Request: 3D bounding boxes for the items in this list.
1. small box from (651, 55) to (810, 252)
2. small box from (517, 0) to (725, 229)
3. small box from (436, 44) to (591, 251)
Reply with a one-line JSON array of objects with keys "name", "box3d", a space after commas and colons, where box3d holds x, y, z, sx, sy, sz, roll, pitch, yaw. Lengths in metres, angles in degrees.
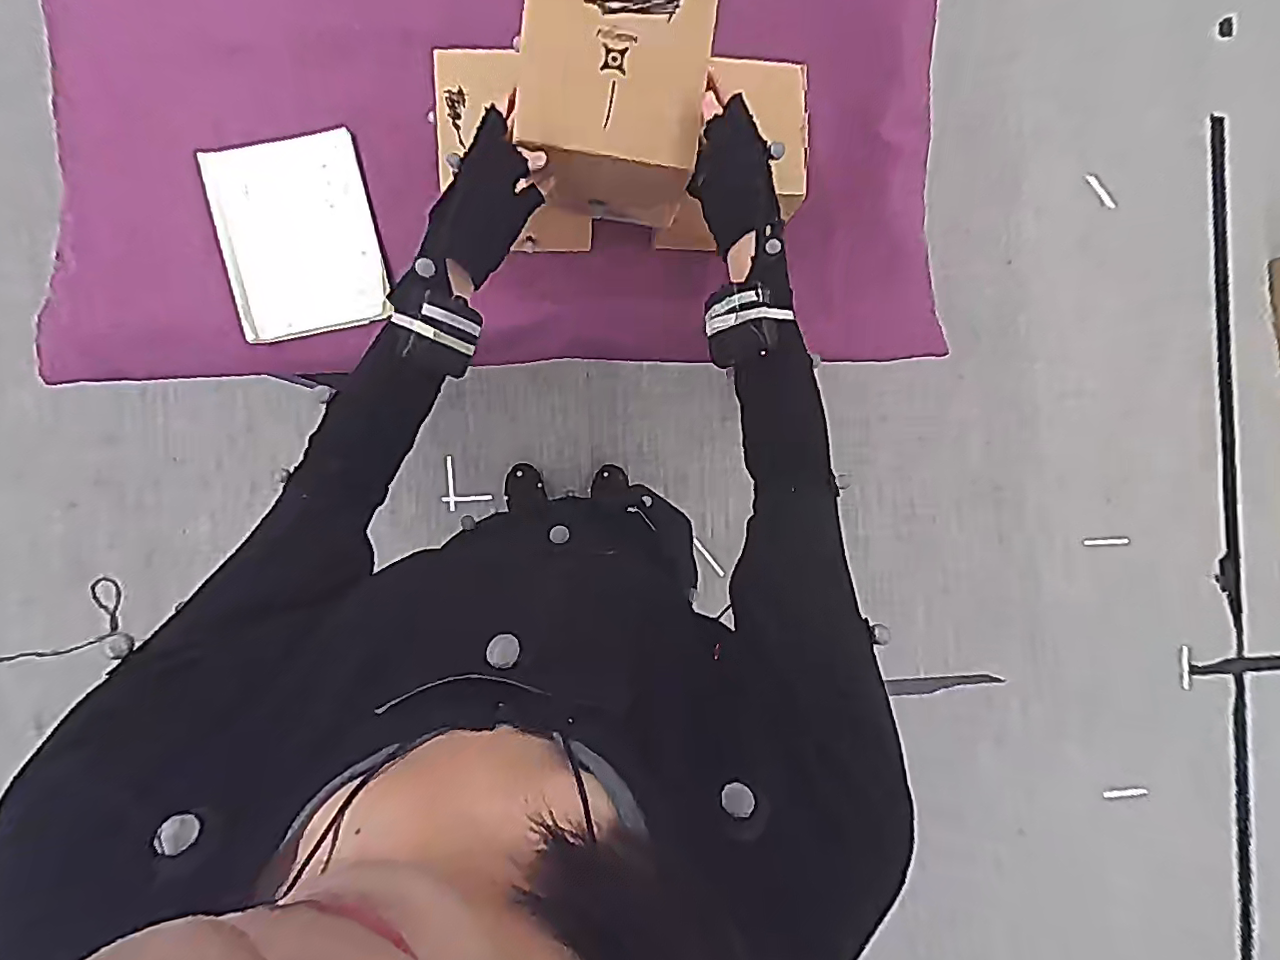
[{"name": "small box", "box3d": [0.112, -0.424, 0.728, 0.179, 0.176, 0.168, 0, 88, -5]}, {"name": "small box", "box3d": [-0.024, -0.385, 0.544, 0.168, 0.176, 0.179, 8, 94, -8]}, {"name": "small box", "box3d": [-0.151, -0.412, 0.699, 0.179, 0.176, 0.168, -2, 90, -6]}]
